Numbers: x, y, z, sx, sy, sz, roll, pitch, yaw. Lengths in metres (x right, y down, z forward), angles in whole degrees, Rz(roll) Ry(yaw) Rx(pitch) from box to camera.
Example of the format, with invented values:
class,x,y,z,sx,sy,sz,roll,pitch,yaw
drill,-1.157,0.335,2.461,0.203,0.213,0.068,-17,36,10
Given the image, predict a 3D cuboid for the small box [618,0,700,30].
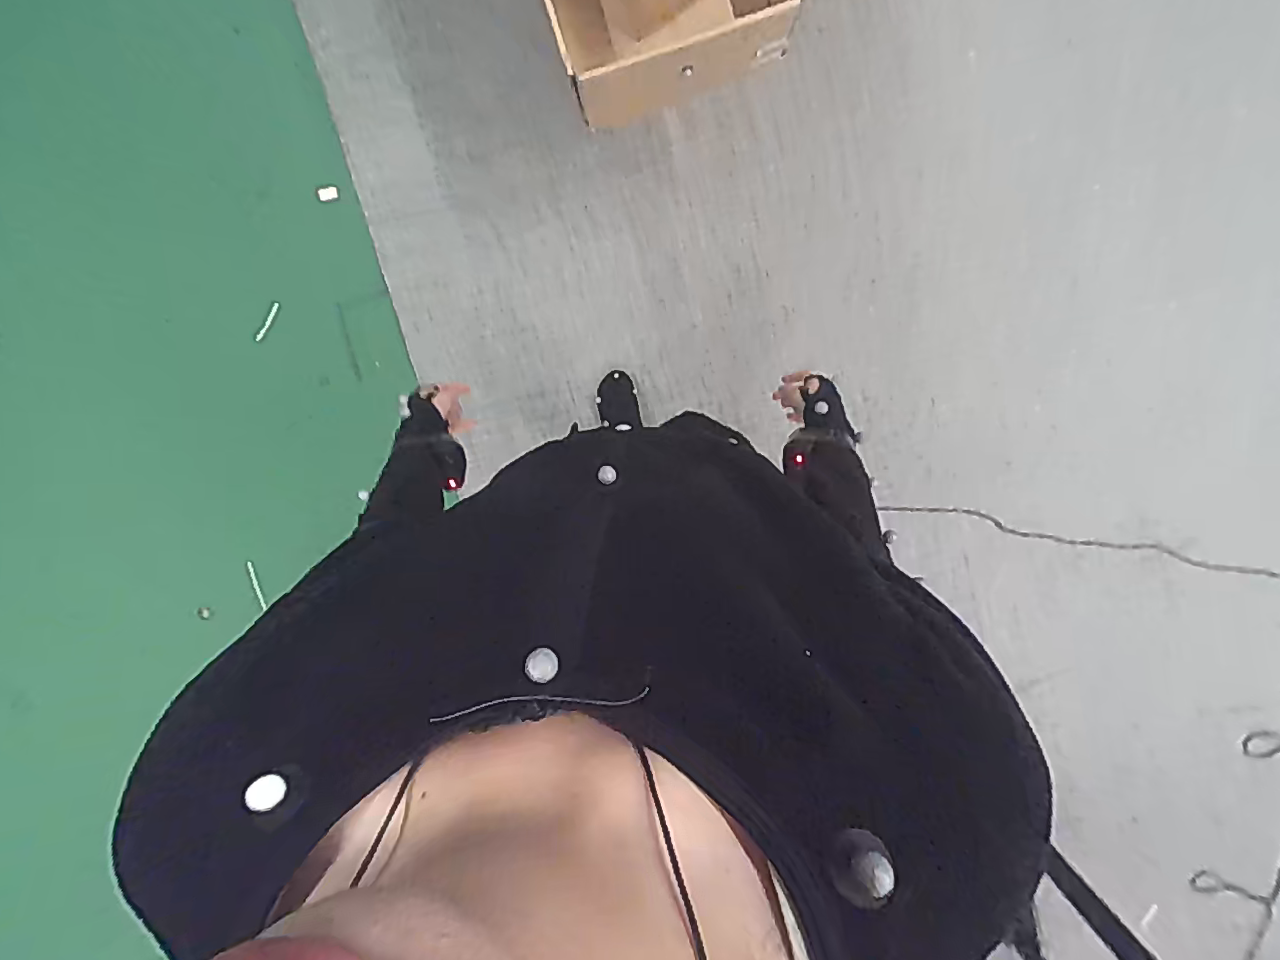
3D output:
class,x,y,z,sx,sy,sz,roll,pitch,yaw
small box,0.028,-0.889,0.876,0.168,0.176,0.179,-30,97,4
